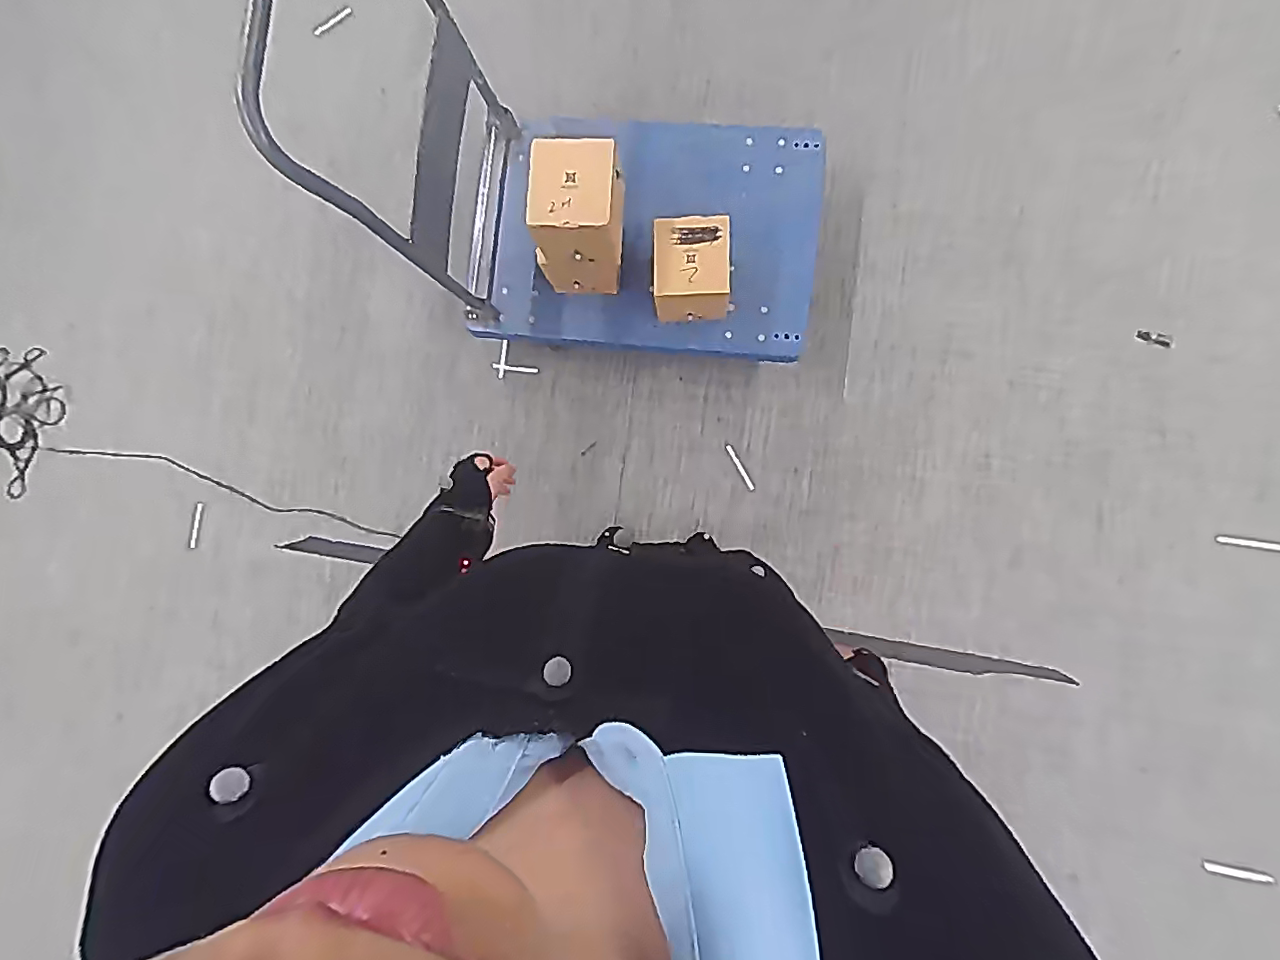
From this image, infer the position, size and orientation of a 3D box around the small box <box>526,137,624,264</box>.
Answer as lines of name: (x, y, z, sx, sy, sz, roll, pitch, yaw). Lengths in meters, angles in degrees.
small box: (-0.127, -0.569, 1.113, 0.168, 0.176, 0.179, 3, 88, 5)

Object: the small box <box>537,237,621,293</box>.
small box: (-0.138, -0.563, 1.280, 0.168, 0.176, 0.179, 3, 88, 5)
